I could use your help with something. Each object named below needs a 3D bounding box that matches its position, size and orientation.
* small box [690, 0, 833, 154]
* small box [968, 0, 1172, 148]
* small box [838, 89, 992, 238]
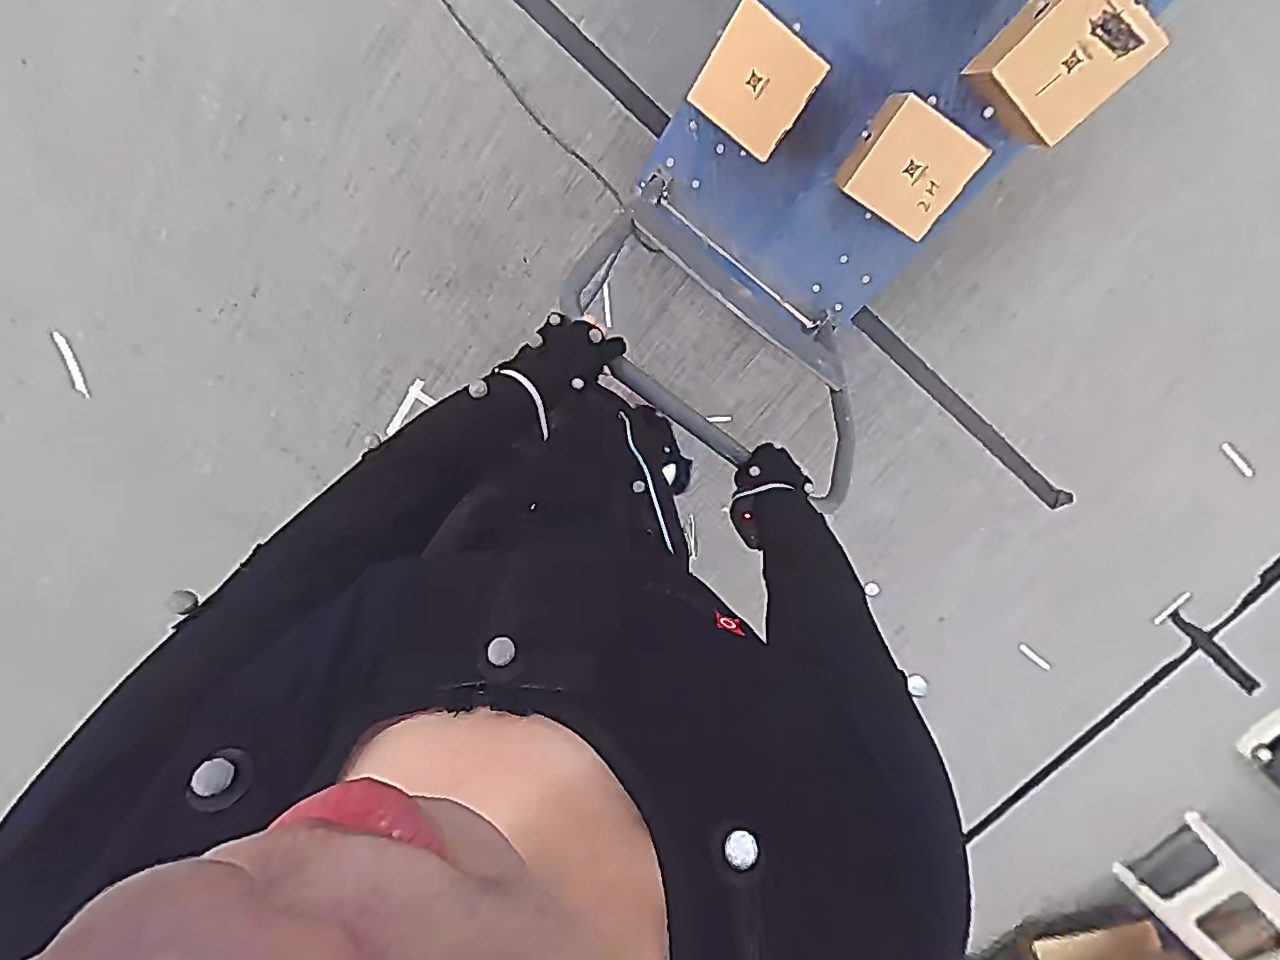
[{"bbox_3d":[0.210,-0.715,0.961,0.179,0.176,0.168,32,125,-13],"label":"small box"},{"bbox_3d":[0.681,-0.685,0.880,0.168,0.176,0.179,39,125,-15],"label":"small box"},{"bbox_3d":[0.490,-0.580,0.995,0.179,0.176,0.168,30,126,-9],"label":"small box"}]
